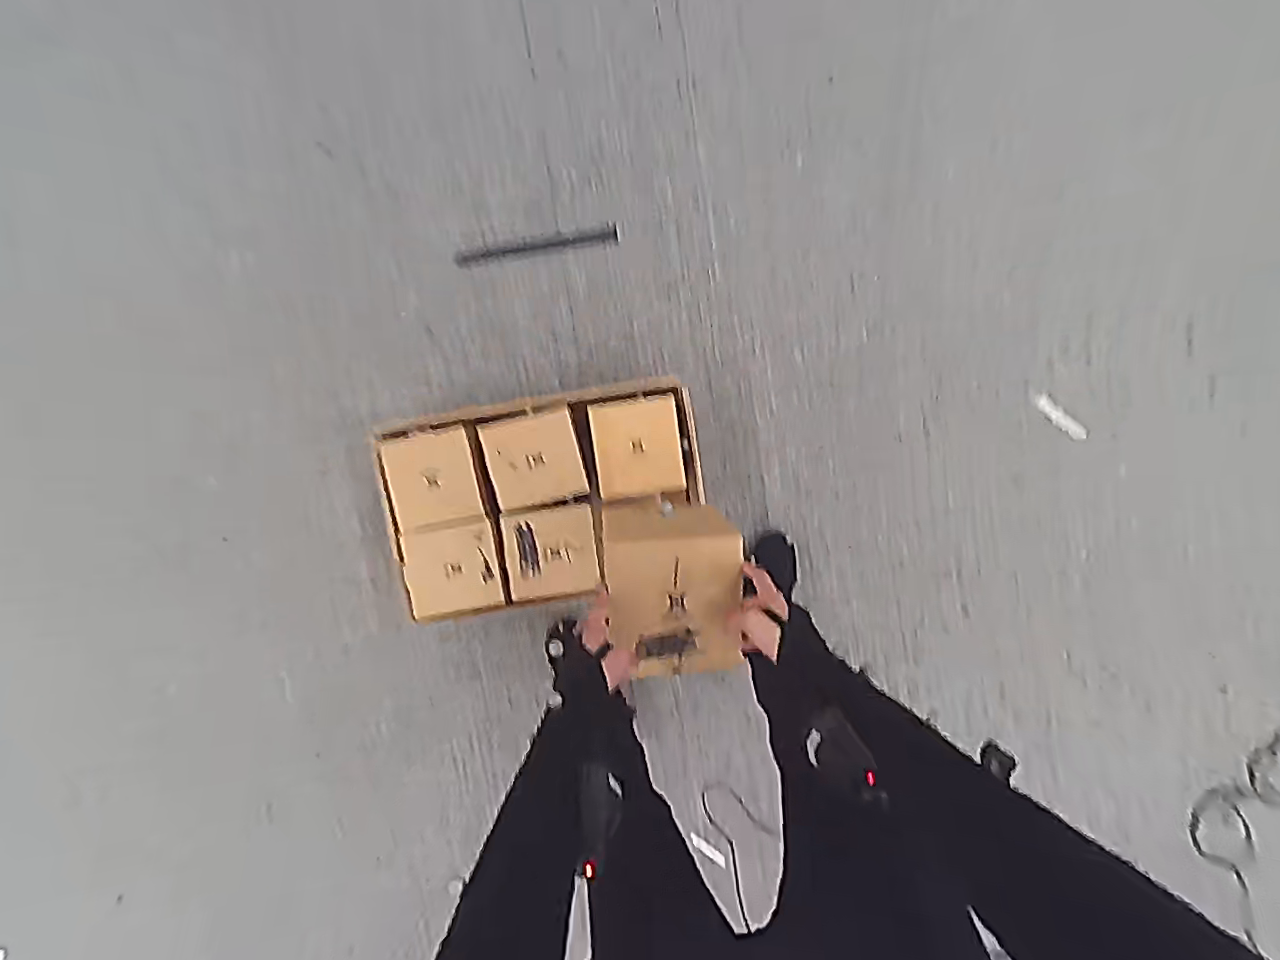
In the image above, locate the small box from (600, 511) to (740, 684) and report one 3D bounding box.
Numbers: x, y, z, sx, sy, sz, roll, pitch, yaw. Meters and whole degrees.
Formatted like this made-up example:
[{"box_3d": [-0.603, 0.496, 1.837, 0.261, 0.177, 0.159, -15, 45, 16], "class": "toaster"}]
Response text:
[{"box_3d": [0.031, 0.147, 0.725, 0.168, 0.176, 0.179, -2, 100, -5], "class": "small box"}]
